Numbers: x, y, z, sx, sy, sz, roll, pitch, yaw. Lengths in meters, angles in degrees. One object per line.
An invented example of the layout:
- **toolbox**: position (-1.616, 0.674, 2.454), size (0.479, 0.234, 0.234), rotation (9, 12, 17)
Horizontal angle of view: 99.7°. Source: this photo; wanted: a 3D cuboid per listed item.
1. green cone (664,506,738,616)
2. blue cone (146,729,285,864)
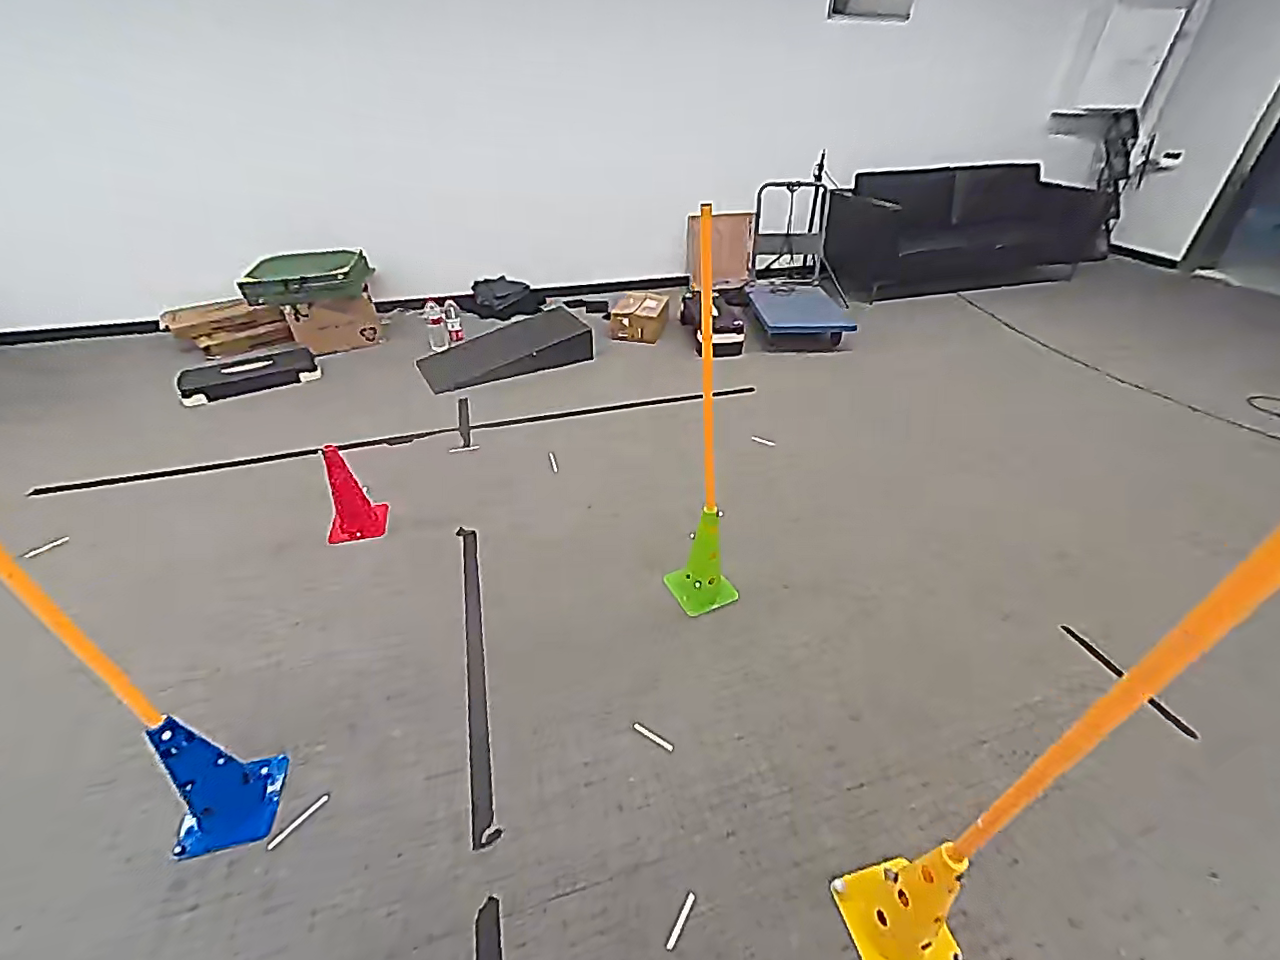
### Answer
- **green cone**: position (0.210, 0.230, 1.749), size (0.200, 0.368, 0.202), rotation (-17, 41, -22)
- **blue cone**: position (-0.959, 0.652, 1.185), size (0.193, 0.380, 0.192), rotation (-8, 37, -11)
